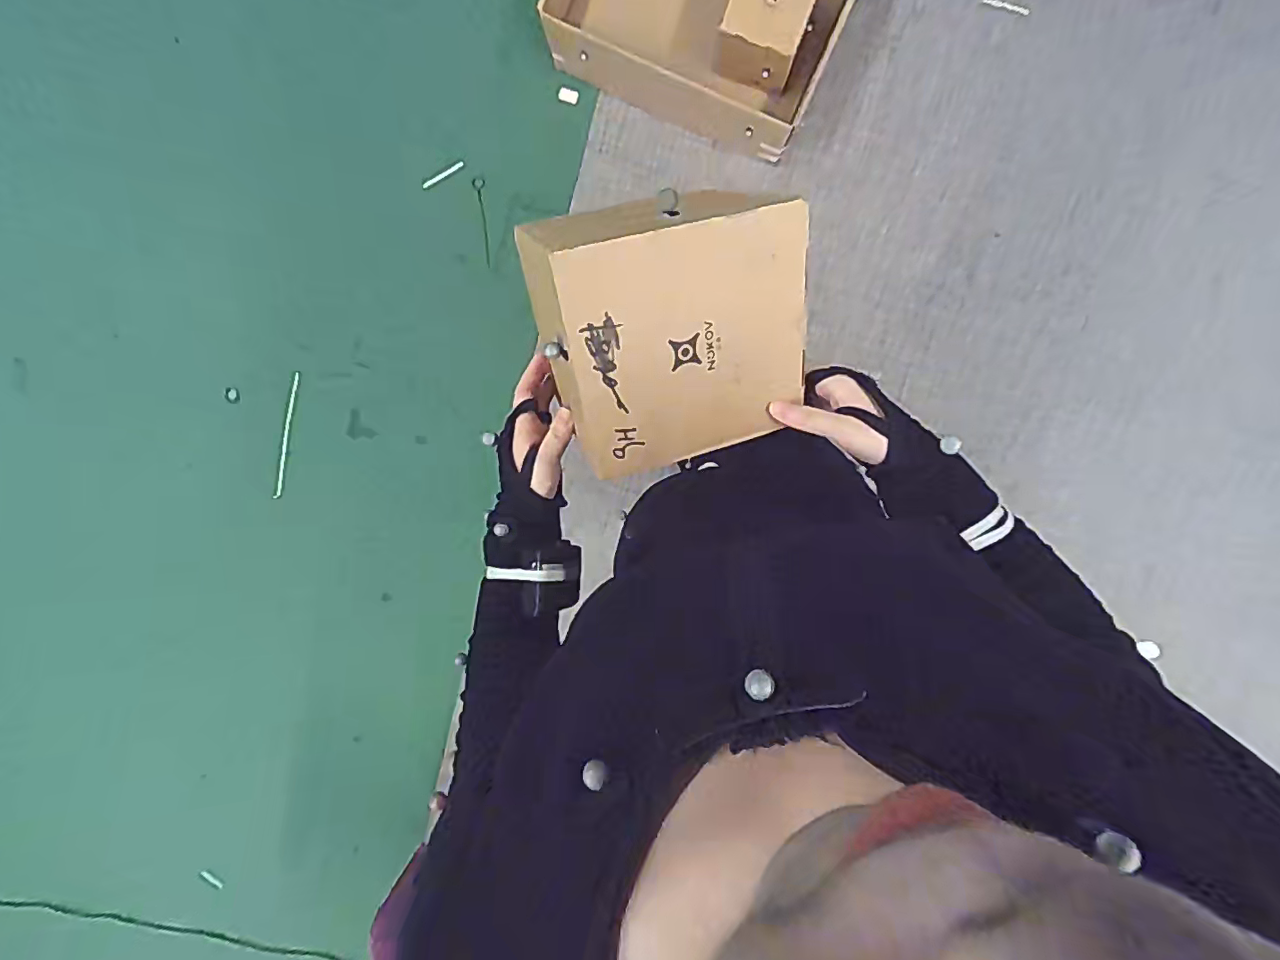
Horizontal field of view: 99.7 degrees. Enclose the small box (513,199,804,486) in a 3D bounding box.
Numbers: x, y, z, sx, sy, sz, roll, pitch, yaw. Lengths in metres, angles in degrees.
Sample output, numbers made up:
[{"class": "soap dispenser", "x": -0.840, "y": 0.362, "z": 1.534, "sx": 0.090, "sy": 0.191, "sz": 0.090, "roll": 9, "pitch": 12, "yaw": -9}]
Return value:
[{"class": "small box", "x": 0.010, "y": -0.125, "z": 0.442, "sx": 0.179, "sy": 0.176, "sz": 0.168, "roll": -17, "pitch": 123, "yaw": -12}]
